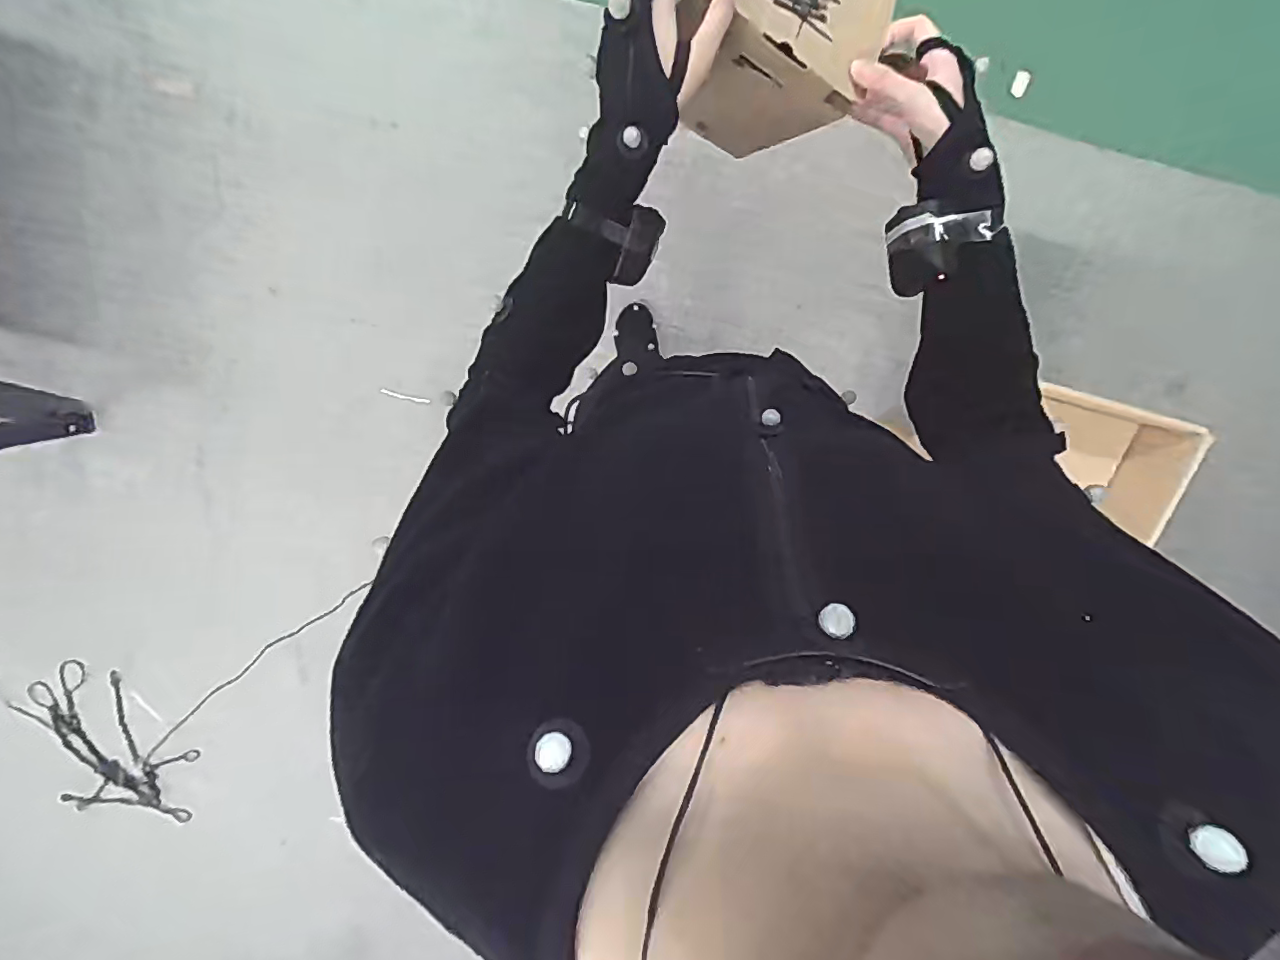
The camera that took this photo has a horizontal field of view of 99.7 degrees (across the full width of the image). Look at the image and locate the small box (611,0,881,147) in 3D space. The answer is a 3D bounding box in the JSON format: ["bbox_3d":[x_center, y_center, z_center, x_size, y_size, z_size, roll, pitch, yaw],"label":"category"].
[{"bbox_3d":[0.089,-0.422,0.463,0.168,0.176,0.179,12,103,-27],"label":"small box"}]
